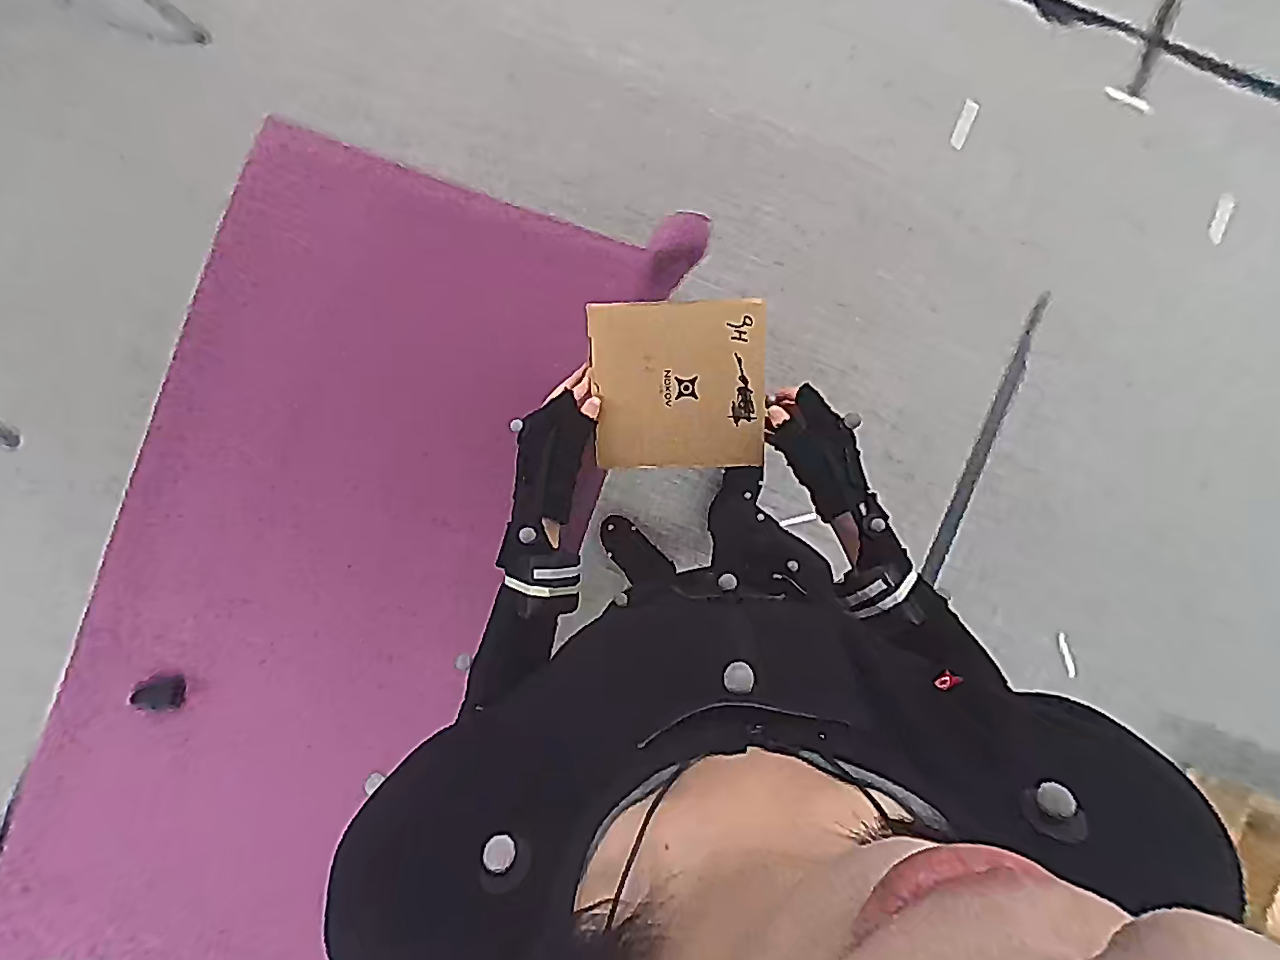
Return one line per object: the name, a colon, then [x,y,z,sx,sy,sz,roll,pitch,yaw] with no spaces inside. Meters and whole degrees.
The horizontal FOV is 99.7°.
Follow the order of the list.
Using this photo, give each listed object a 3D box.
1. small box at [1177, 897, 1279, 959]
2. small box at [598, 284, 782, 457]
small box: [1.518,1.211,1.355,0.168,0.176,0.179,21,85,0]
small box: [0.055,-0.119,0.603,0.179,0.176,0.168,0,103,5]
